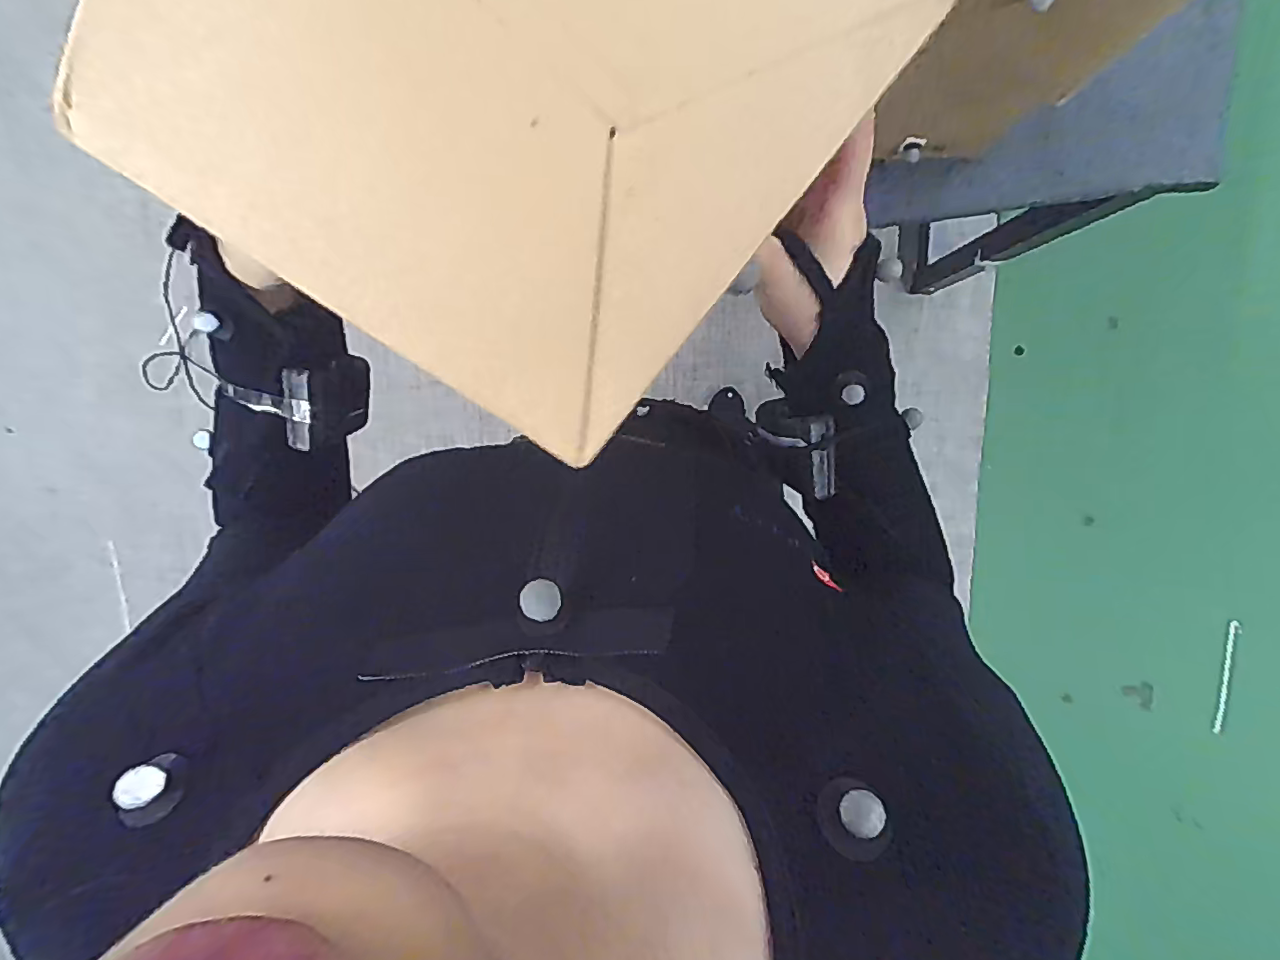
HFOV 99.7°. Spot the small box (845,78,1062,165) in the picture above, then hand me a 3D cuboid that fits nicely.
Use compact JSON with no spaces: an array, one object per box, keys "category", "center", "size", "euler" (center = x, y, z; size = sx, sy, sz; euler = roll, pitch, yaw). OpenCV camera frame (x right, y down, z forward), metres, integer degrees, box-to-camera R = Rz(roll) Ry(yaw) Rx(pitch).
[{"category":"small box","center":[0.324,-0.461,0.568],"size":[0.168,0.176,0.179],"euler":[1,98,6]}]

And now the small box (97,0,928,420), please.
[{"category":"small box","center":[-0.040,-0.143,0.209],"size":[0.168,0.176,0.179],"euler":[35,110,-20]}]
